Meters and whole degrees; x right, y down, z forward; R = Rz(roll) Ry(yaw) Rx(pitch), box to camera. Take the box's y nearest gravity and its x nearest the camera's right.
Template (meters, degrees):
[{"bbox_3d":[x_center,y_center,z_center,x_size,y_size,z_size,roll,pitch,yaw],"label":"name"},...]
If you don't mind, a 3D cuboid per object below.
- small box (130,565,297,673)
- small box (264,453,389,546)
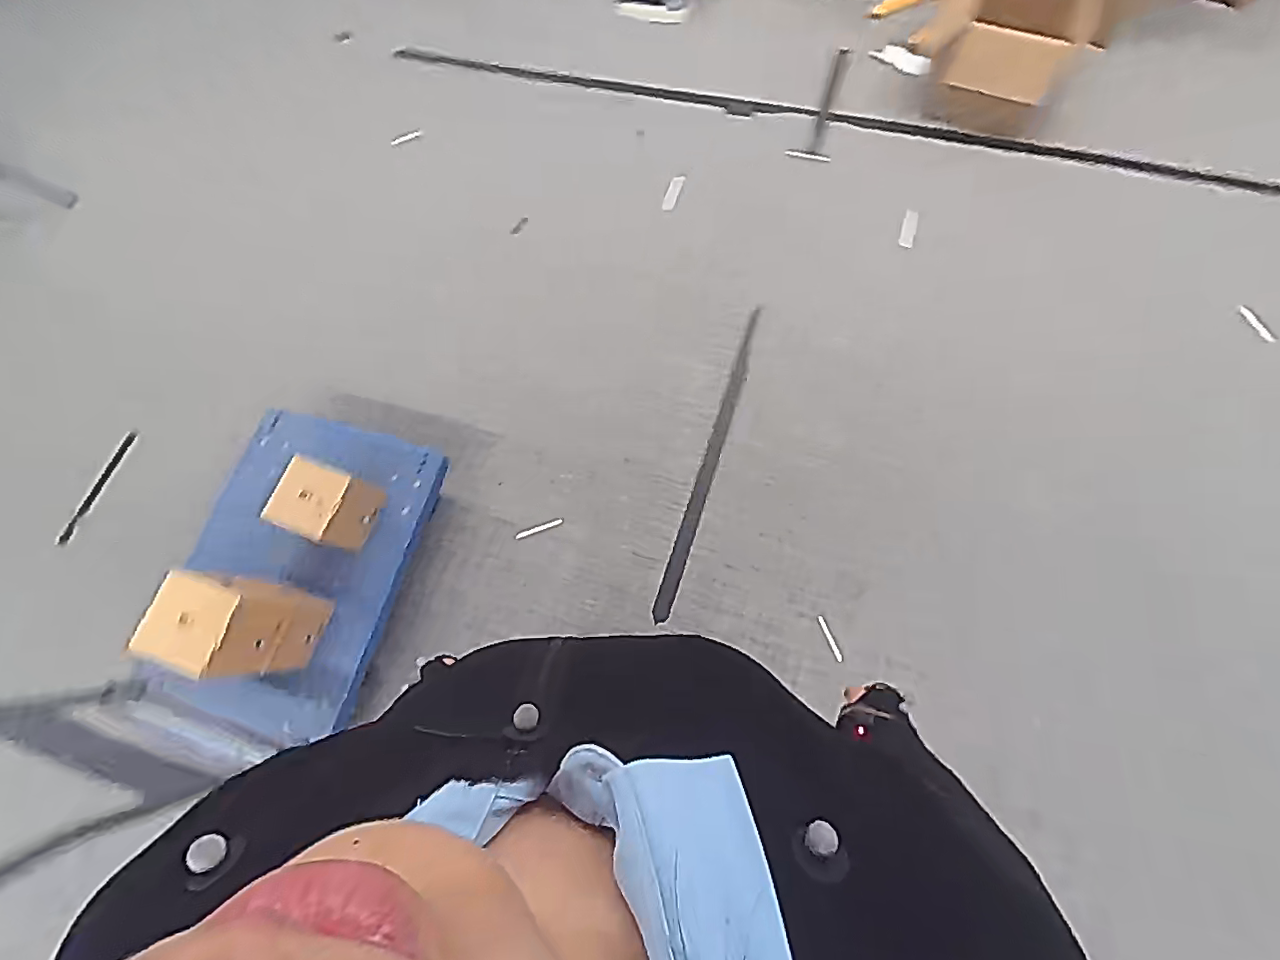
[{"bbox_3d":[-0.878,0.292,1.130,0.179,0.176,0.168,17,75,8],"label":"small box"},{"bbox_3d":[-0.782,0.055,1.366,0.179,0.176,0.168,19,76,10],"label":"small box"}]
